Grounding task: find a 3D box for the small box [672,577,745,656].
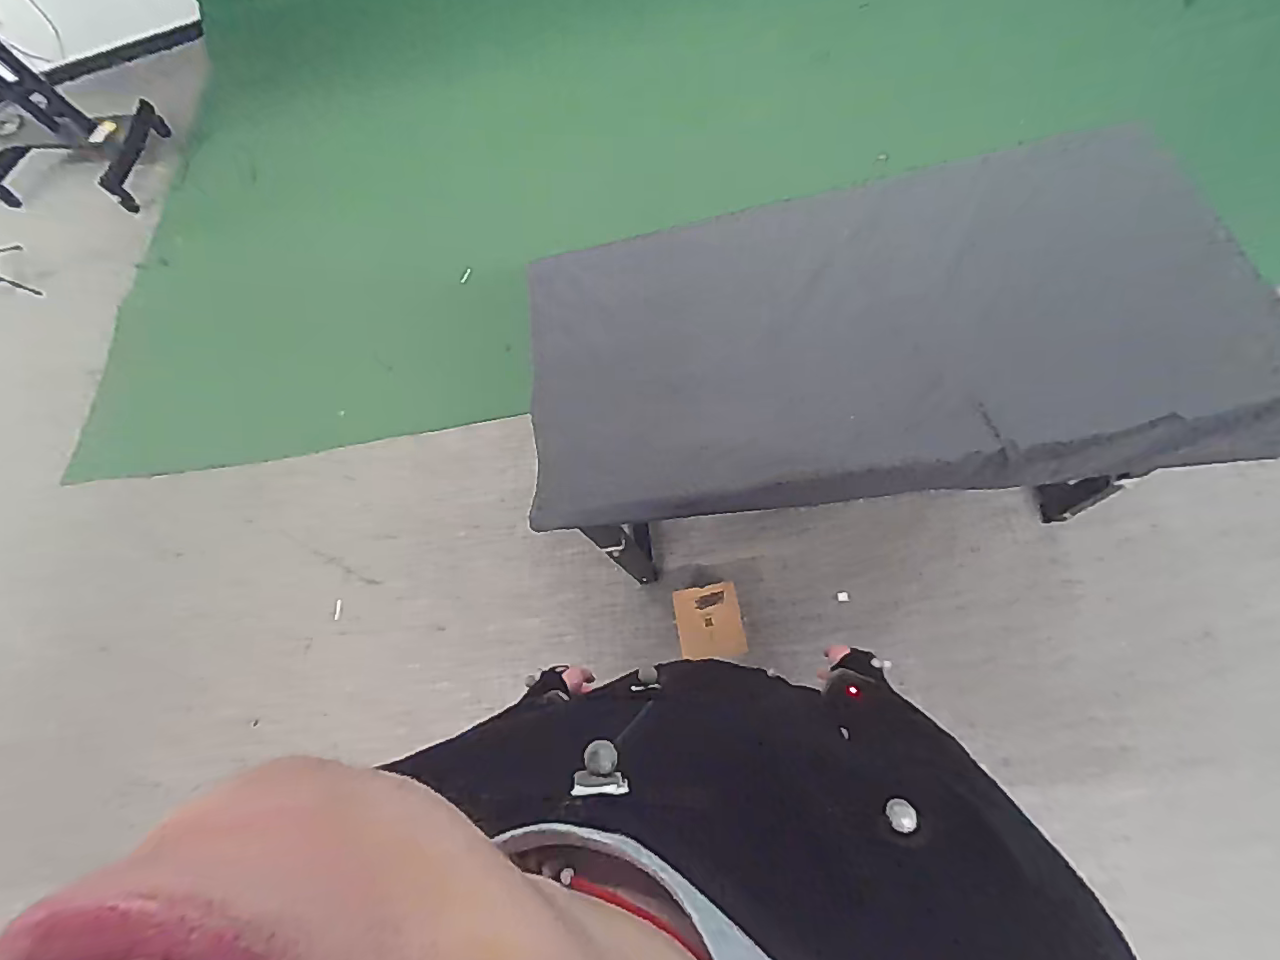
[{"bbox_3d":[0.188,0.374,1.461,0.168,0.176,0.179,-11,69,8],"label":"small box"}]
